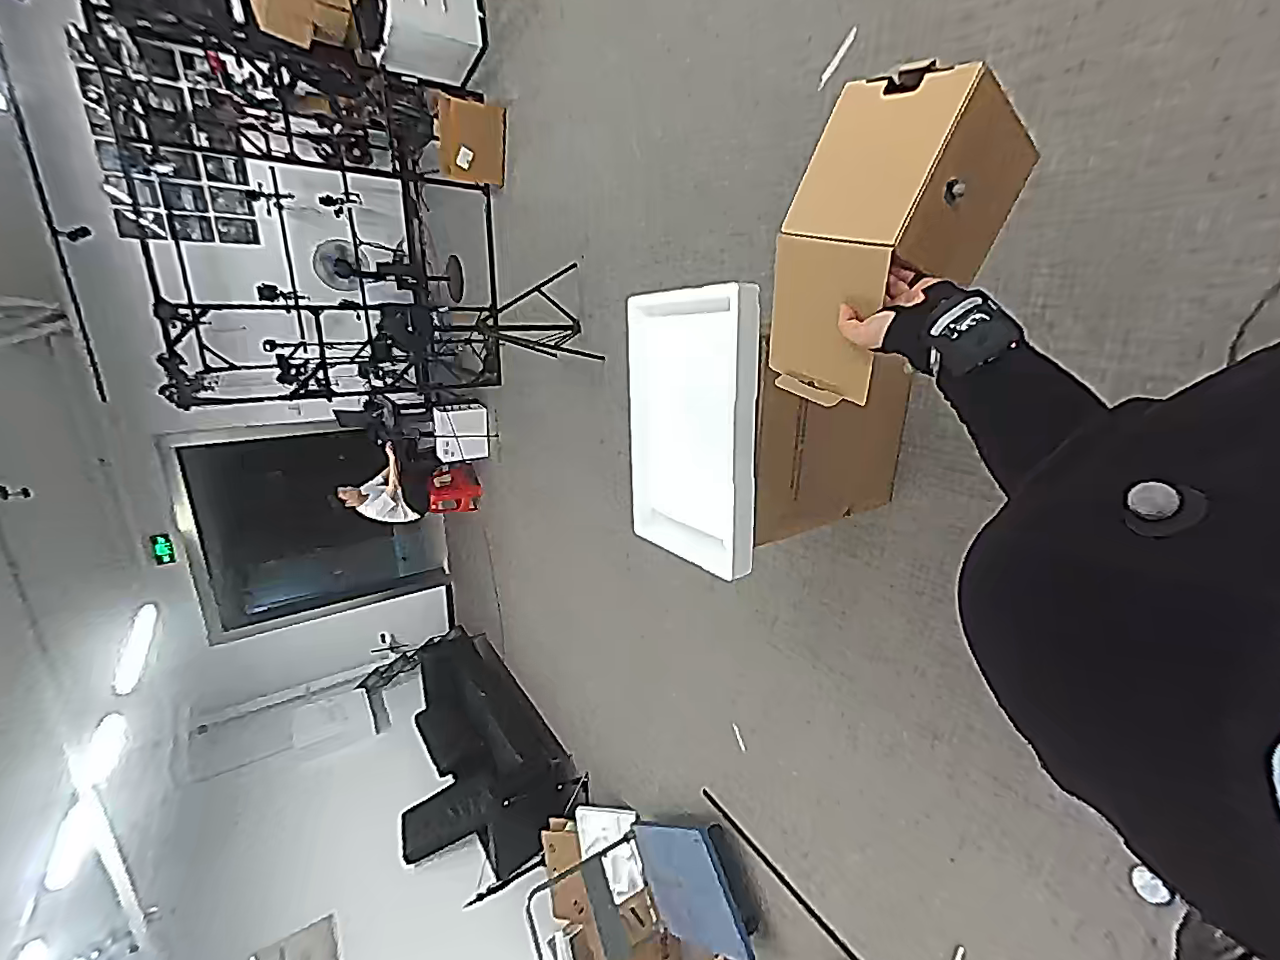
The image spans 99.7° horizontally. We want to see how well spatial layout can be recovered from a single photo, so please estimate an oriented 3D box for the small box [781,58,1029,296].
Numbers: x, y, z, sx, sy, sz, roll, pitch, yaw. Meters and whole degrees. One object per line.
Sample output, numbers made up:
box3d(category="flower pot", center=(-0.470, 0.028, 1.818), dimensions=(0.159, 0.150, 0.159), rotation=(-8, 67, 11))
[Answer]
box3d(category="small box", center=(0.306, -0.336, 0.630), dimensions=(0.168, 0.176, 0.179), rotation=(40, 112, 48))
